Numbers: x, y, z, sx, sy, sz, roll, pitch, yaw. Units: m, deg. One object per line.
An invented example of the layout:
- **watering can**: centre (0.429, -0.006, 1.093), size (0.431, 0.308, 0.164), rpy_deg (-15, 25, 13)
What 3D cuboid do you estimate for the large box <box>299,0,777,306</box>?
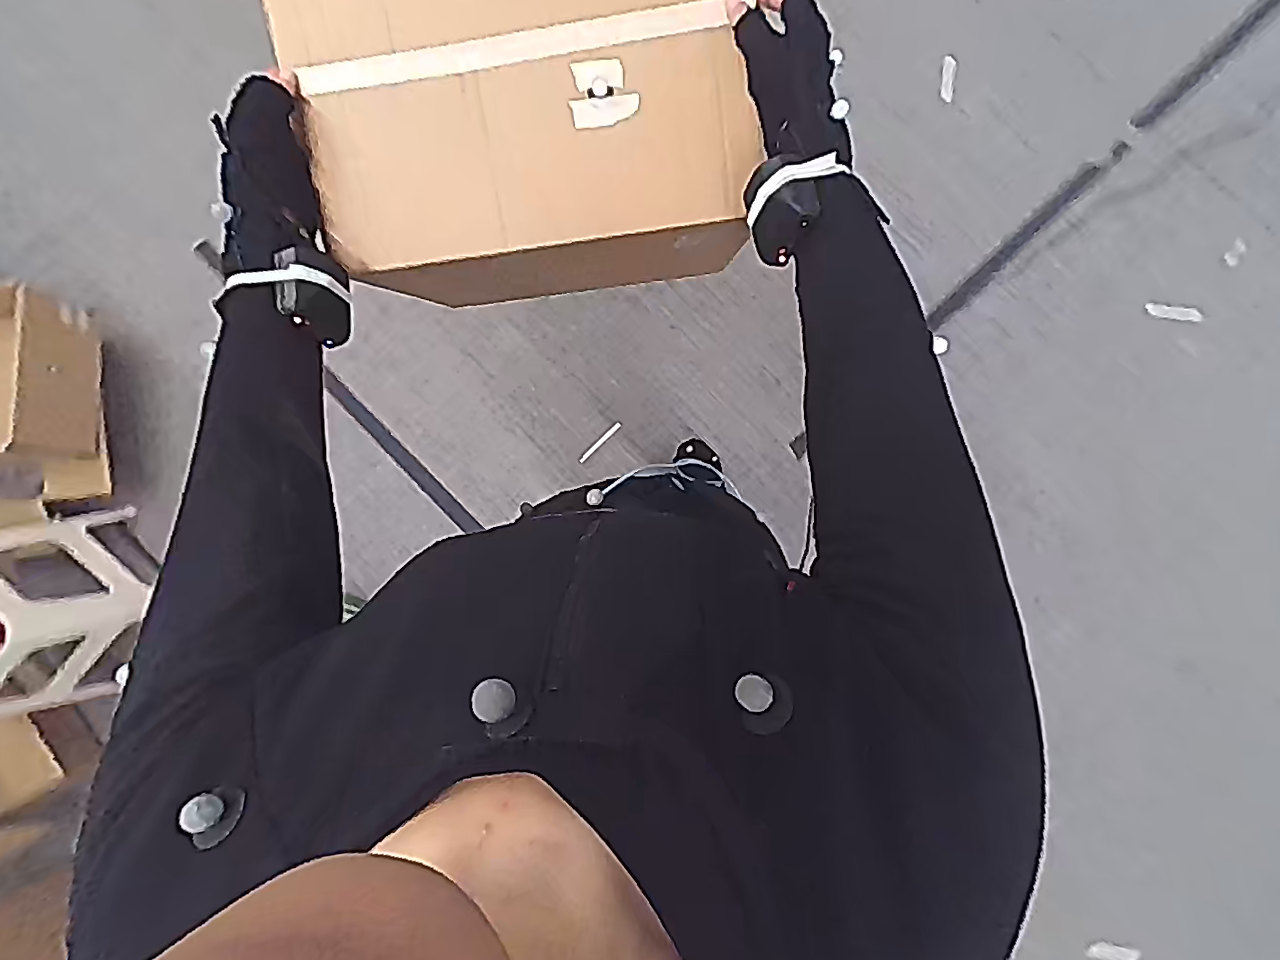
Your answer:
- **large box**: centre (-0.089, -0.398, 0.617), size (0.408, 0.320, 0.320), rpy_deg (-6, 102, 2)
